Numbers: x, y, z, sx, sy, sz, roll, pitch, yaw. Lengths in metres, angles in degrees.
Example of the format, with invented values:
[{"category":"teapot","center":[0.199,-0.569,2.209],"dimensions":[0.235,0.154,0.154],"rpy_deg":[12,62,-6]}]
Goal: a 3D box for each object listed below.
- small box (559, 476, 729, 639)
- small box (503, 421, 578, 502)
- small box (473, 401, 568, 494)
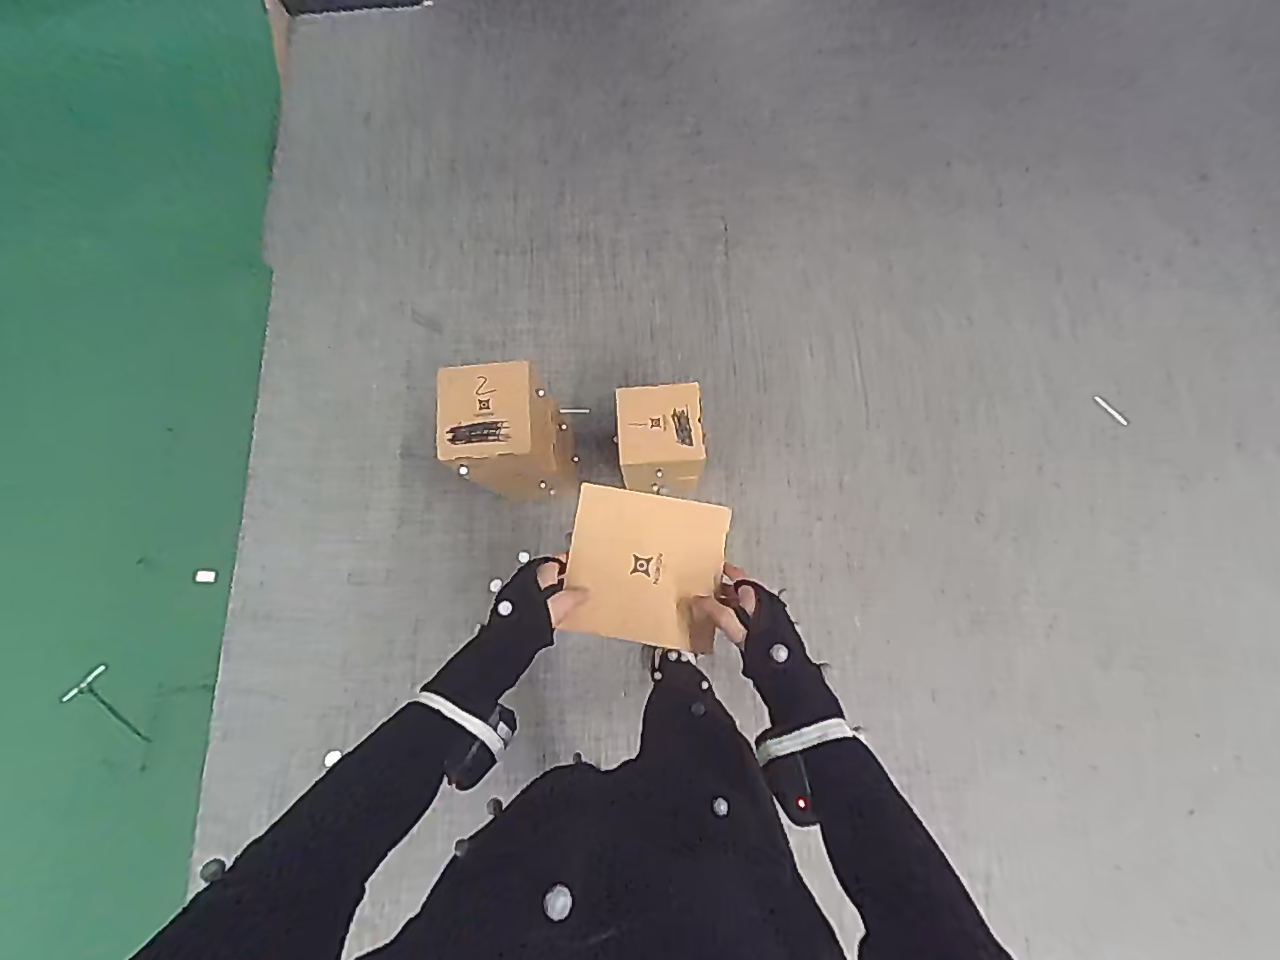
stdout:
[{"category":"small box","center":[0.004,0.103,0.694],"dimensions":[0.179,0.176,0.168],"rpy_deg":[9,79,-1]},{"category":"small box","center":[-0.255,-0.043,1.366],"dimensions":[0.179,0.176,0.168],"rpy_deg":[-5,78,2]},{"category":"small box","center":[-0.259,-0.067,1.205],"dimensions":[0.179,0.176,0.168],"rpy_deg":[-5,77,2]}]
